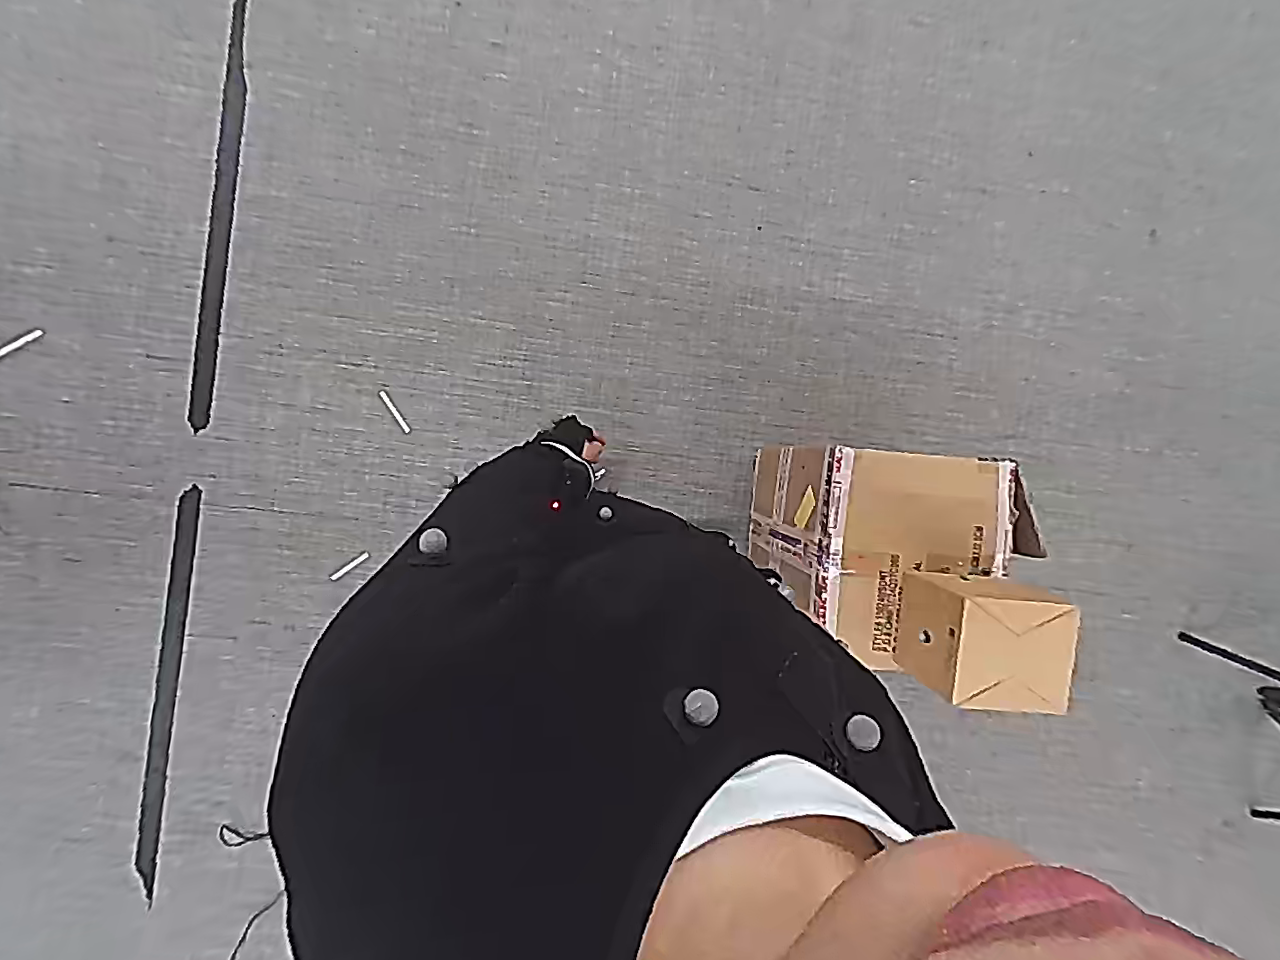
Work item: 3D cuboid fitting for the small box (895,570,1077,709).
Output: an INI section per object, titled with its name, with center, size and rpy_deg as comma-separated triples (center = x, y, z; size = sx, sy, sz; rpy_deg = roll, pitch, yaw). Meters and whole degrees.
[small box]
center = 0.539, 0.245, 0.861
size = 0.179, 0.176, 0.168
rpy_deg = 5, 94, -3
